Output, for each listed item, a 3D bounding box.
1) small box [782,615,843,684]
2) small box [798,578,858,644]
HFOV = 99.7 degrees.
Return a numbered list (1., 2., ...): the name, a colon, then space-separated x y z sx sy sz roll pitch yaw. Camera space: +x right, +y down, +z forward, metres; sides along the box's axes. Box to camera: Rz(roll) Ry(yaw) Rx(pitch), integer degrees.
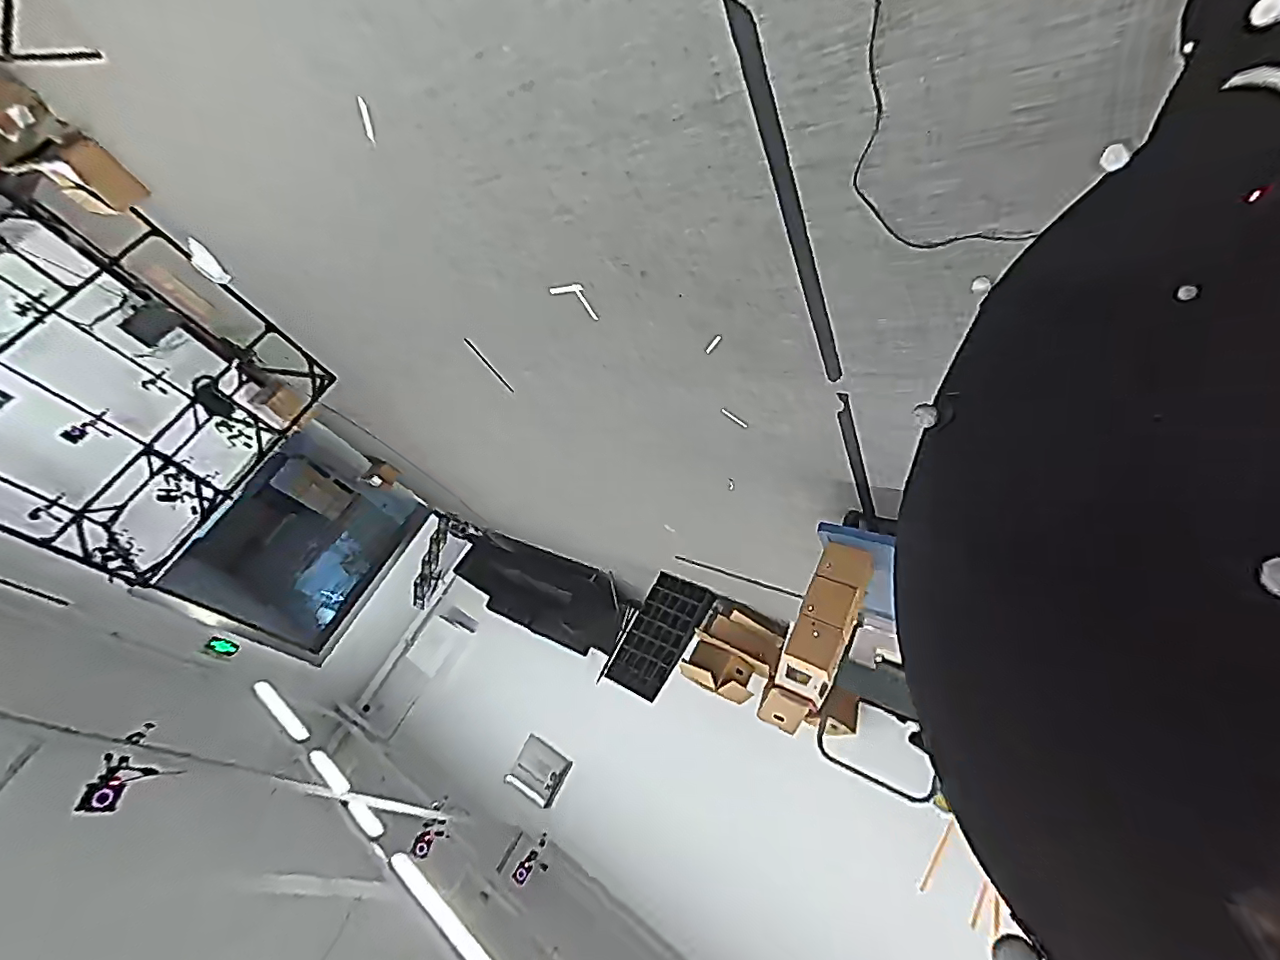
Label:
1. small box: 0.655 0.637 2.035 0.168 0.176 0.179 17 156 32
2. small box: 0.733 0.502 2.090 0.179 0.176 0.168 17 156 34
